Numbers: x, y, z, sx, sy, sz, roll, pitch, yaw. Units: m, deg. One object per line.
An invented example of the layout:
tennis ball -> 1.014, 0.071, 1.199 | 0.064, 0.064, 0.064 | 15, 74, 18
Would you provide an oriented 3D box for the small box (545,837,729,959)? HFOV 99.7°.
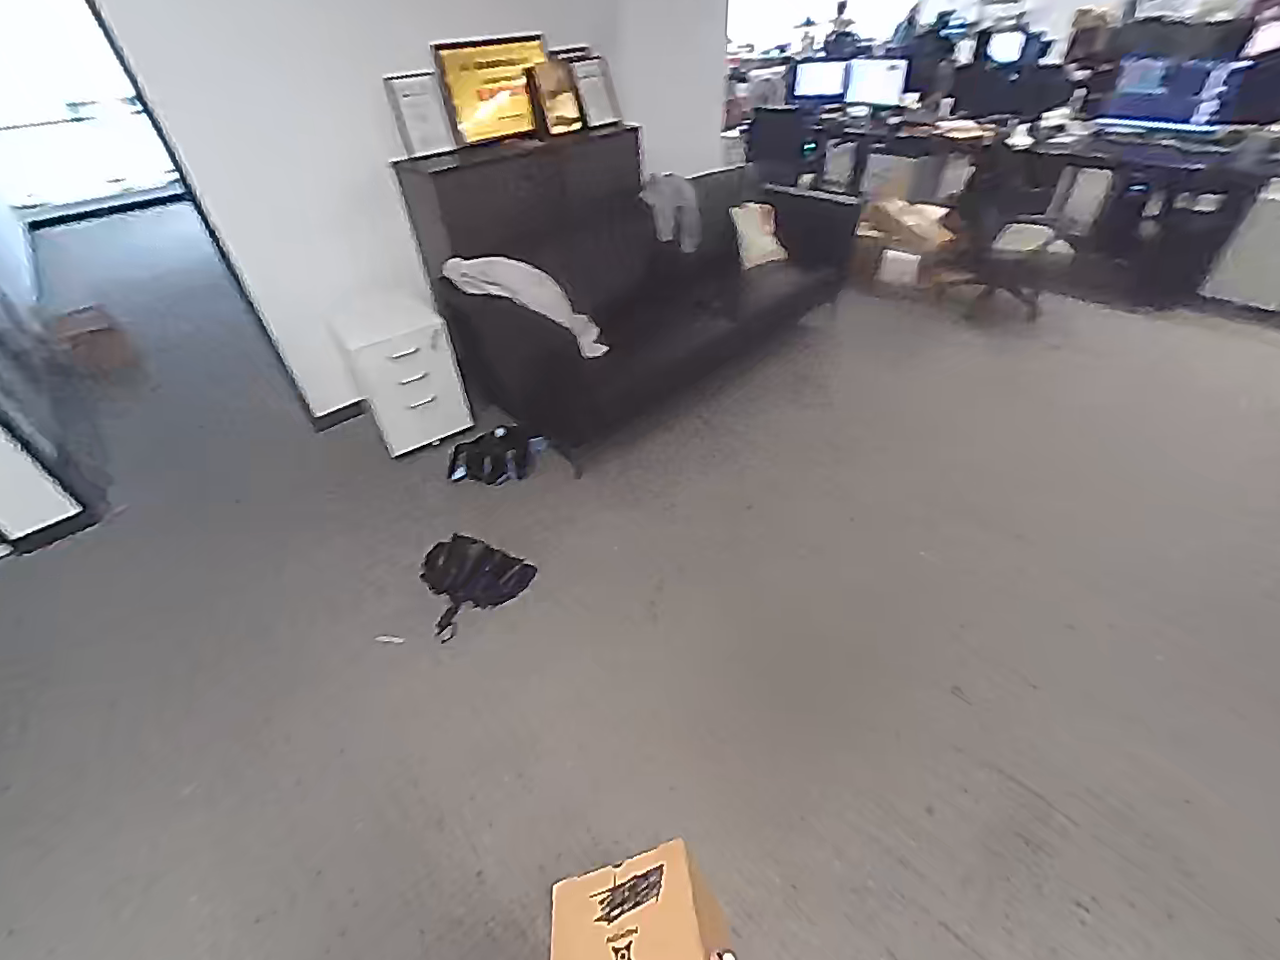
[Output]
small box -> 0.005, 0.551, 0.596 | 0.168, 0.176, 0.179 | -23, 23, 3
